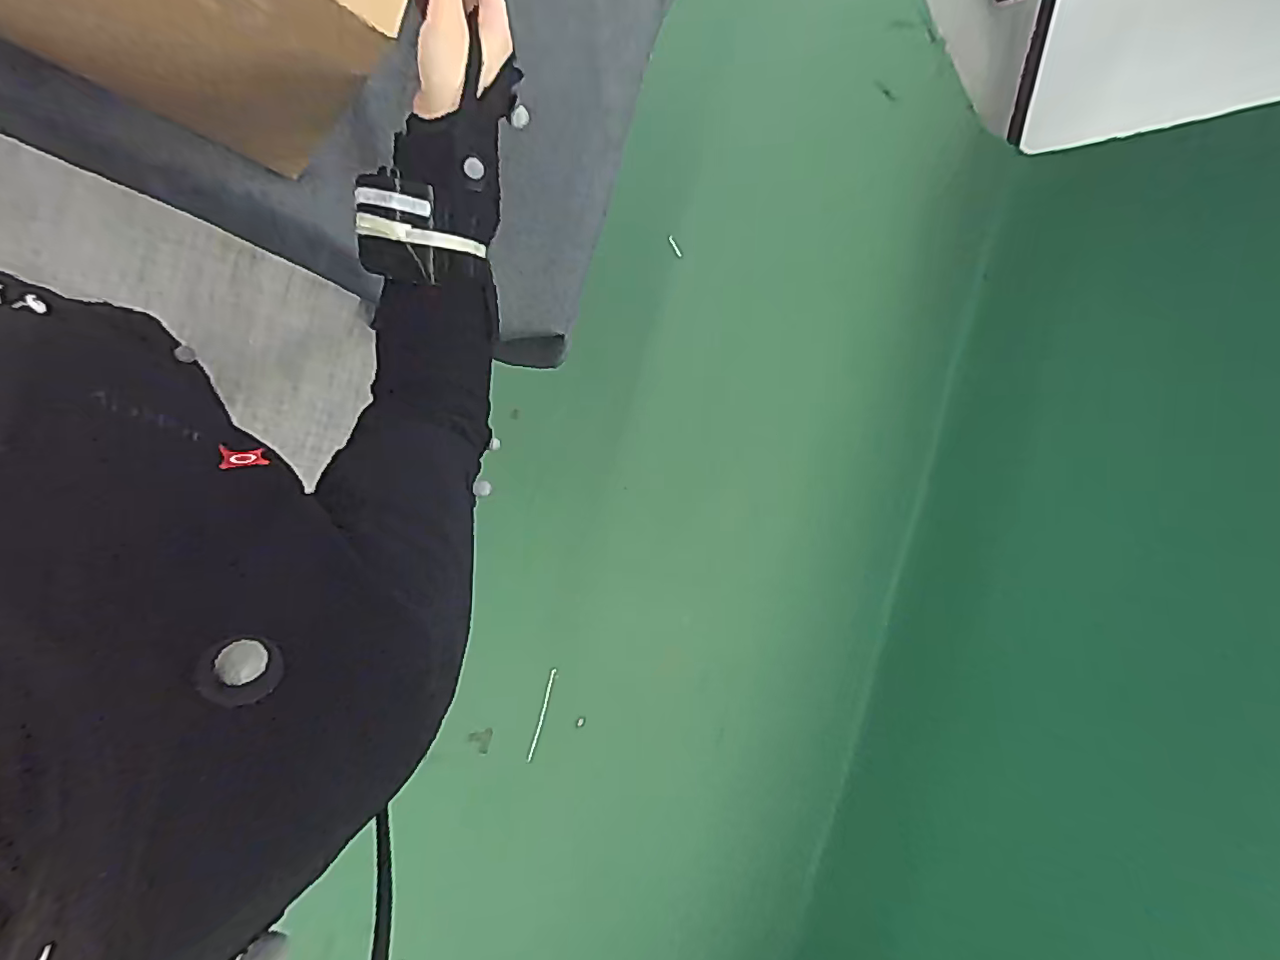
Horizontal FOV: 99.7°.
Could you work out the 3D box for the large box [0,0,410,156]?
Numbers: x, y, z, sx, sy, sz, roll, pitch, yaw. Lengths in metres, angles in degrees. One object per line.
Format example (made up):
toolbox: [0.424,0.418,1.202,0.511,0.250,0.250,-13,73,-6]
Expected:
large box: [-0.352,-0.469,0.292,0.408,0.320,0.320,13,91,-44]
